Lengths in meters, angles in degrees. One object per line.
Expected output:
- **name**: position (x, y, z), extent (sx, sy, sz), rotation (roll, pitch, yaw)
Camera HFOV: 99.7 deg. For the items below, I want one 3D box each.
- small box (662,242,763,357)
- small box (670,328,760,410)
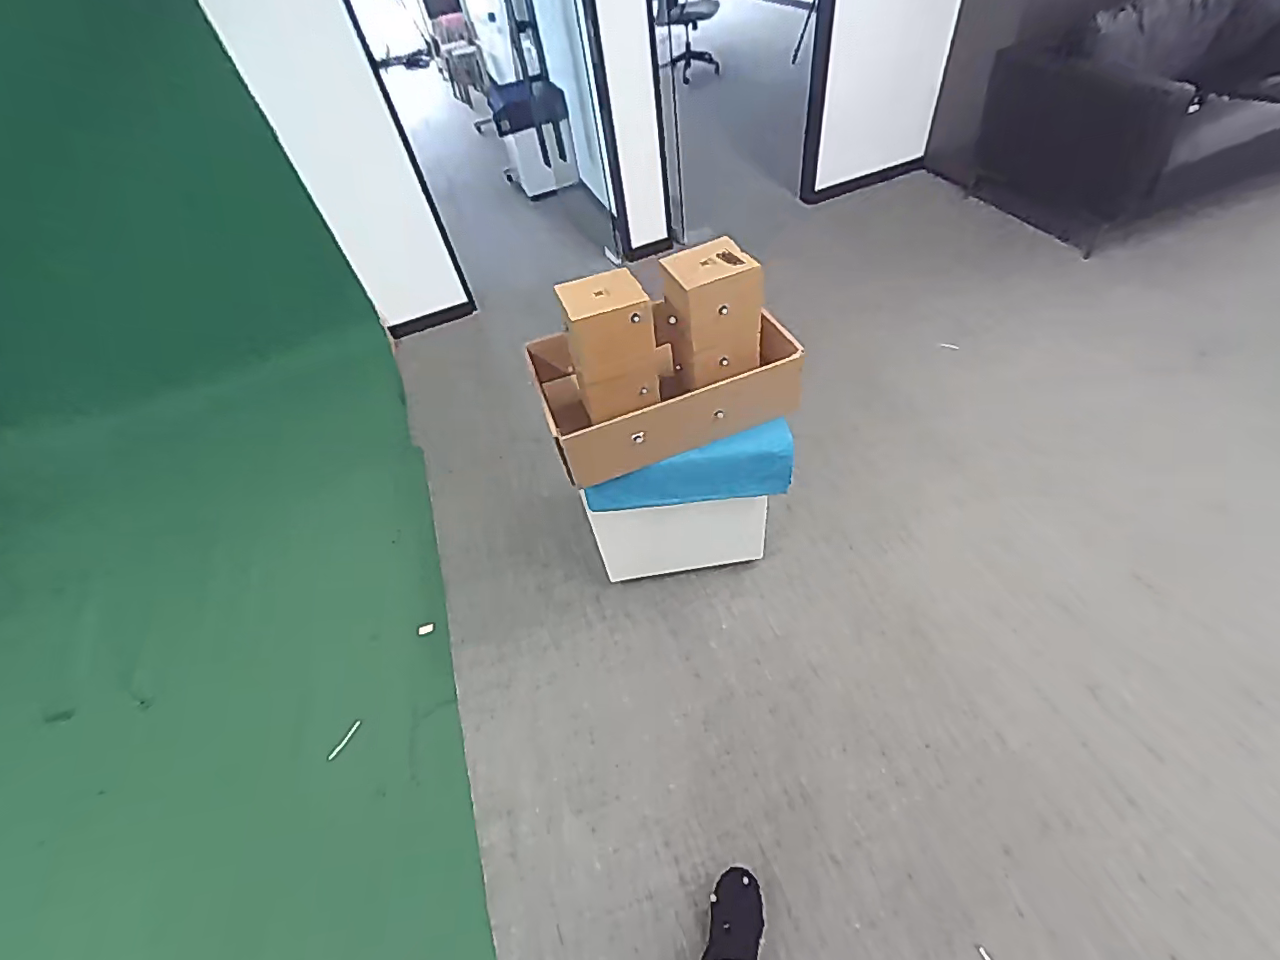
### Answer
- **small box**: position (0.167, -0.413, 1.244), extent (0.179, 0.176, 0.168), rotation (-21, 47, -6)
- **small box**: position (0.192, -0.303, 1.363), extent (0.179, 0.176, 0.168), rotation (-20, 48, -6)
